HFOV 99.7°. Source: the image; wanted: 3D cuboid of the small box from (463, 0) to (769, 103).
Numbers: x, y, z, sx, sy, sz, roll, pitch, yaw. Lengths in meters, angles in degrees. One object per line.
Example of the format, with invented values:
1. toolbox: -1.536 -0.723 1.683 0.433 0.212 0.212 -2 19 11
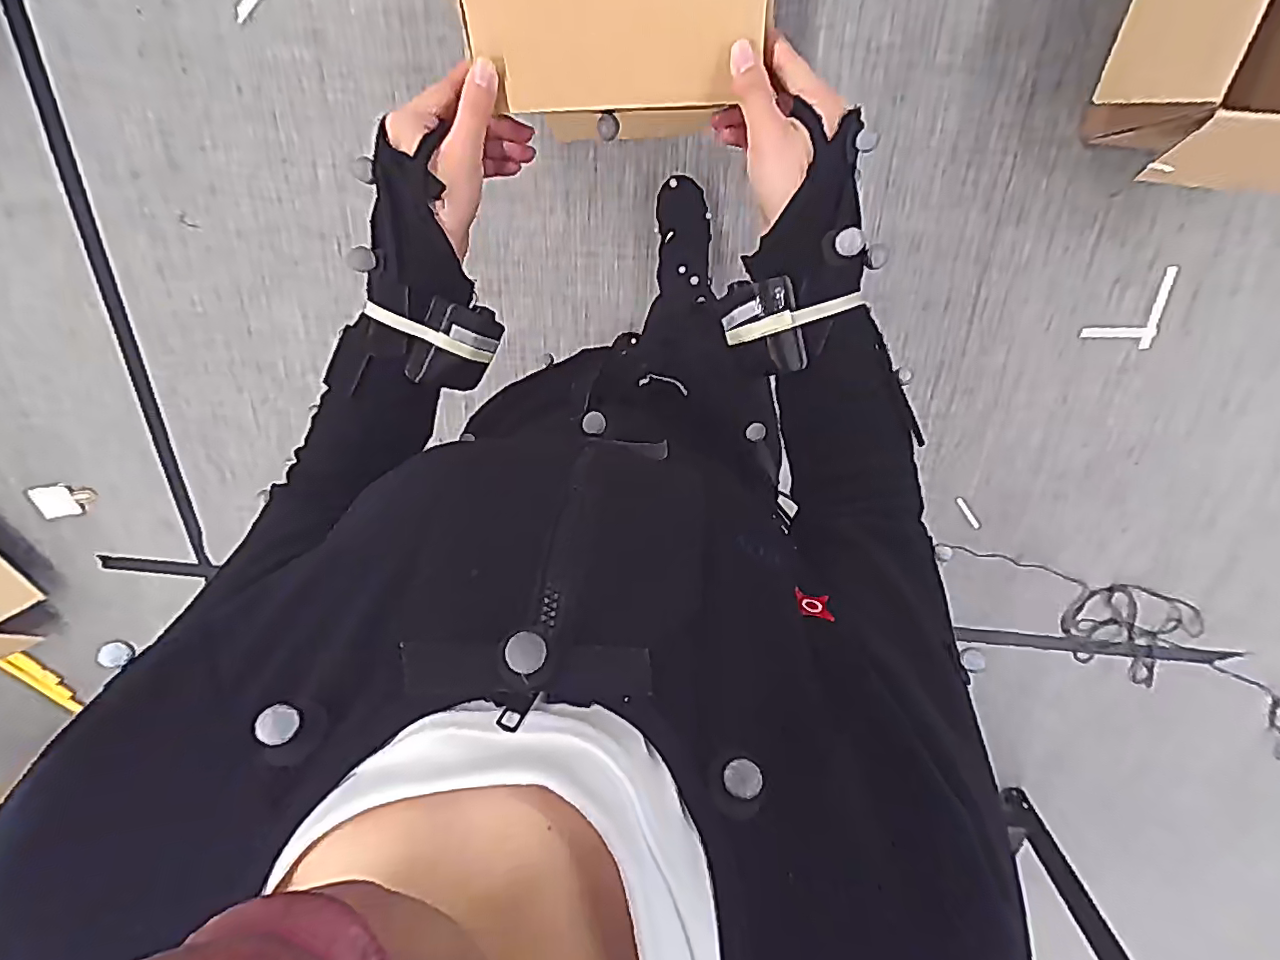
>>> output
1. small box: -0.015 -0.348 0.350 0.179 0.176 0.168 -1 125 2
